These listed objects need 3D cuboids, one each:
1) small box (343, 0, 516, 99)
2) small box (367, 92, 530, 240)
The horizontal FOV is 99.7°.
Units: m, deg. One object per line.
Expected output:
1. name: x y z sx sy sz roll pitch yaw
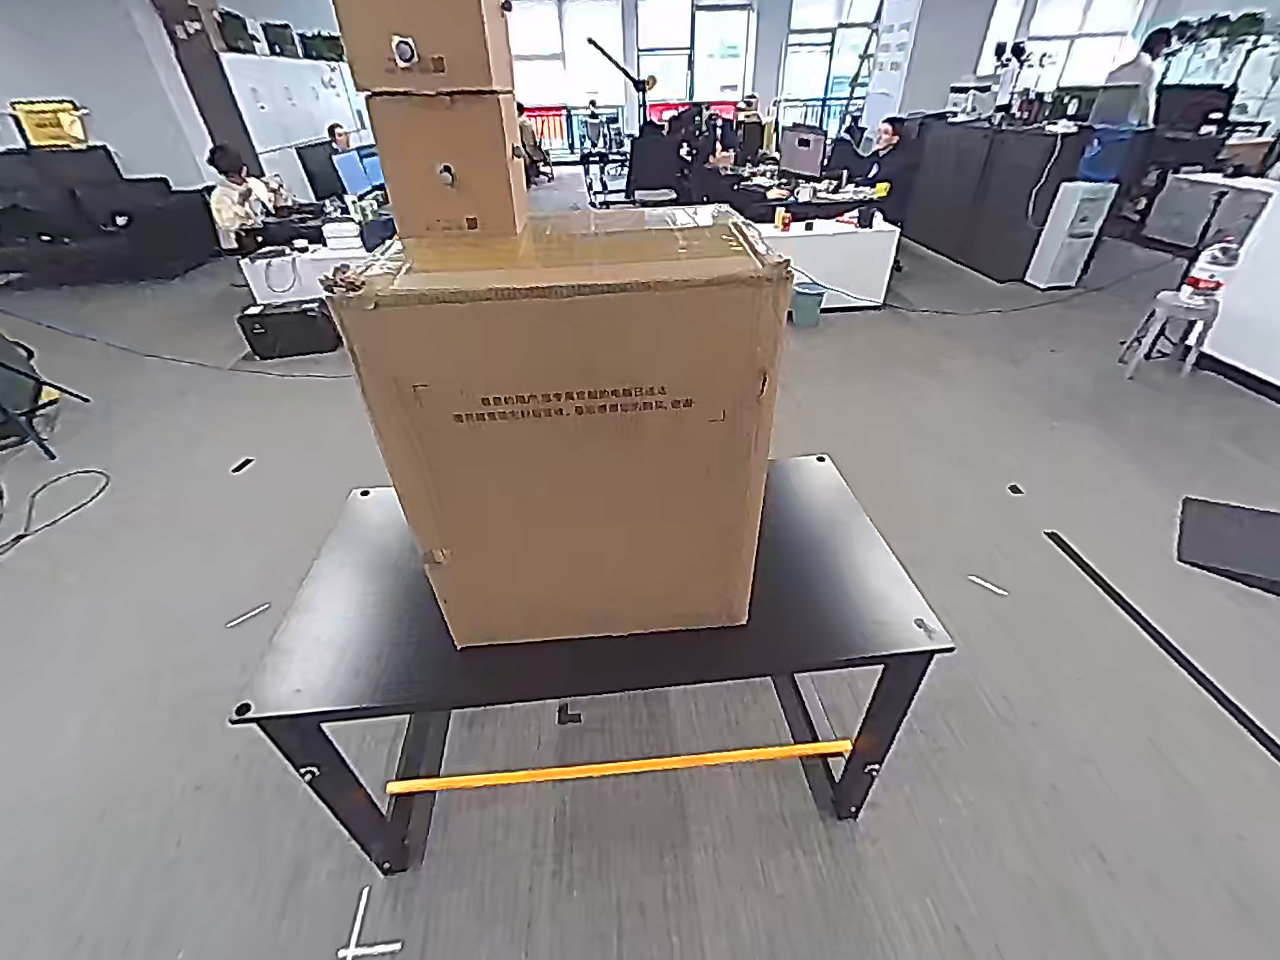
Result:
1. small box: -0.252 -0.569 0.658 0.168 0.176 0.179 -3 36 -1
2. small box: -0.253 -0.445 0.766 0.168 0.176 0.179 -3 36 -4
